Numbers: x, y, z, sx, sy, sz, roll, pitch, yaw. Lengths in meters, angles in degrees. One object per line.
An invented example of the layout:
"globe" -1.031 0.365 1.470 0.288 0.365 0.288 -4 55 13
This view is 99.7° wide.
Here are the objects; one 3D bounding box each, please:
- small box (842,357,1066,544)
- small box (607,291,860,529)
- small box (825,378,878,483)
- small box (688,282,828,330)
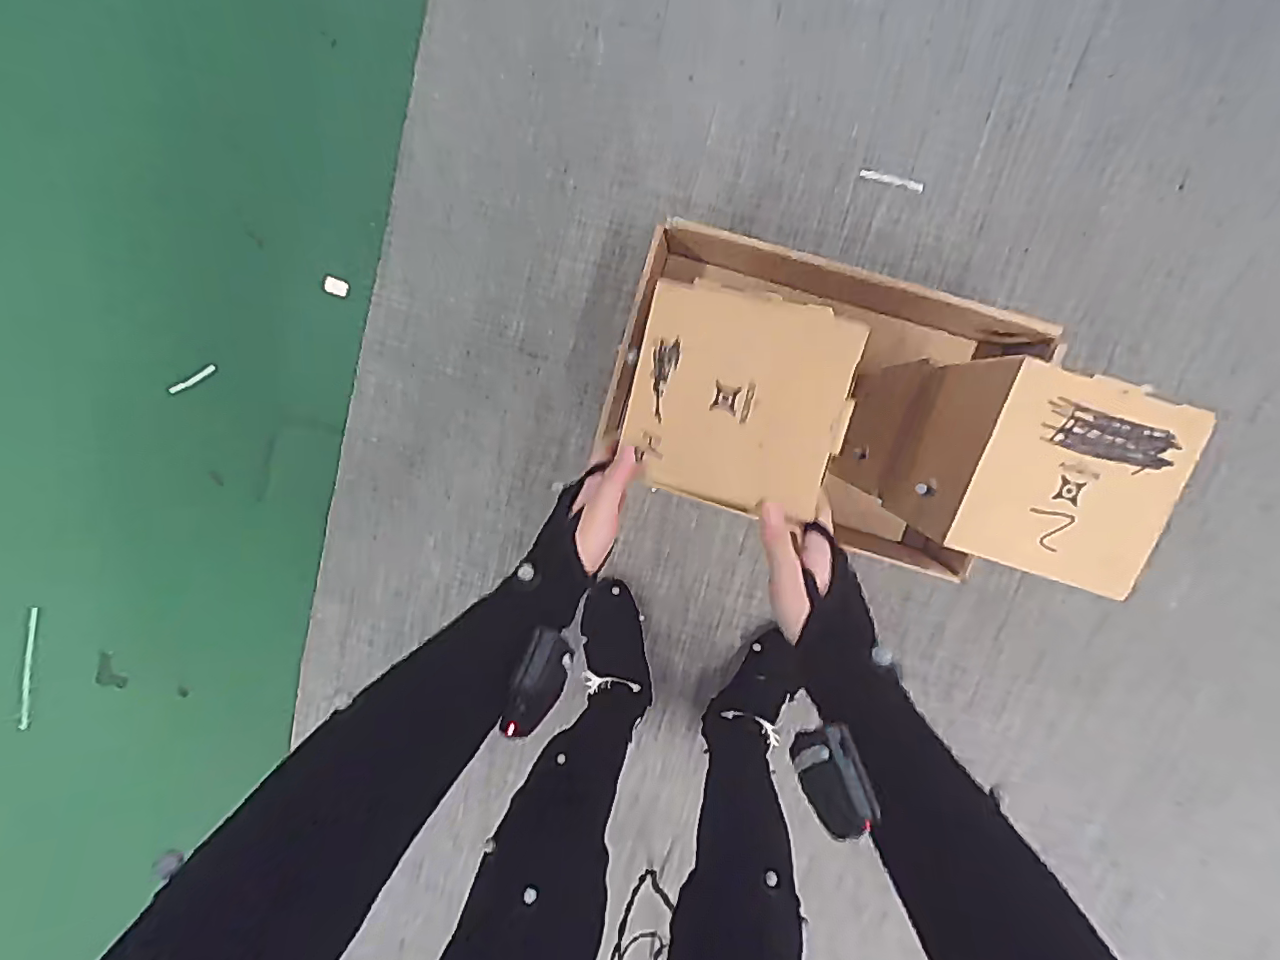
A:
"small box" 0.383 -0.043 0.702 0.168 0.176 0.179 21 99 2
"small box" 0.083 -0.065 0.524 0.179 0.176 0.168 14 97 5
"small box" 0.404 -0.060 0.862 0.179 0.176 0.168 21 99 4
"small box" 0.128 -0.140 0.717 0.168 0.176 0.179 14 98 3
